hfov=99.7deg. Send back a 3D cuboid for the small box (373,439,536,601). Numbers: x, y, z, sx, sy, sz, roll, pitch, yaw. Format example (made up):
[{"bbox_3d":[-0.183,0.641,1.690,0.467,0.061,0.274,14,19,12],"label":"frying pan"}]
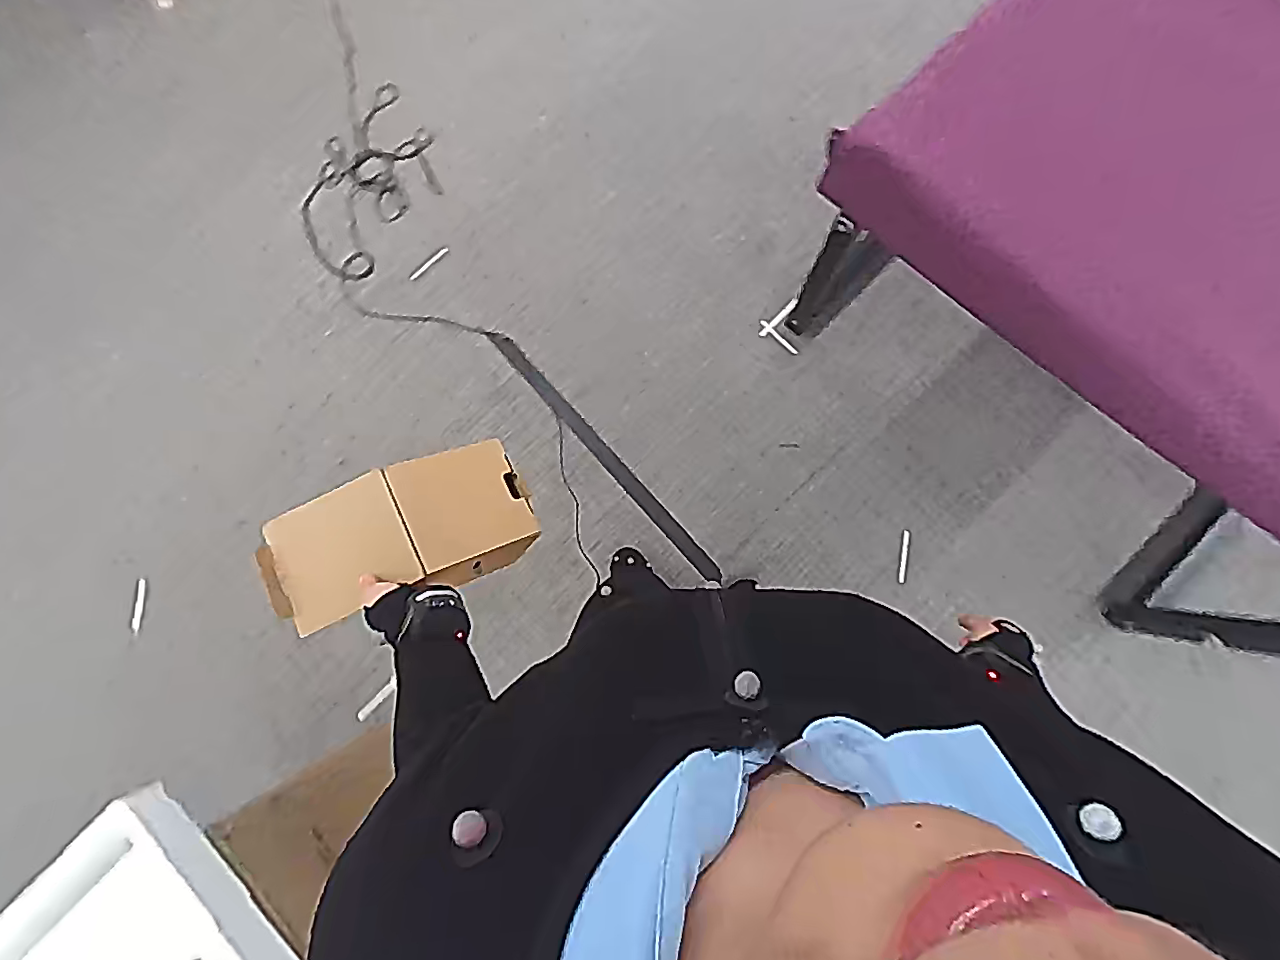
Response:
[{"bbox_3d":[-0.286,0.065,0.817,0.179,0.176,0.168,-21,78,-35],"label":"small box"}]
